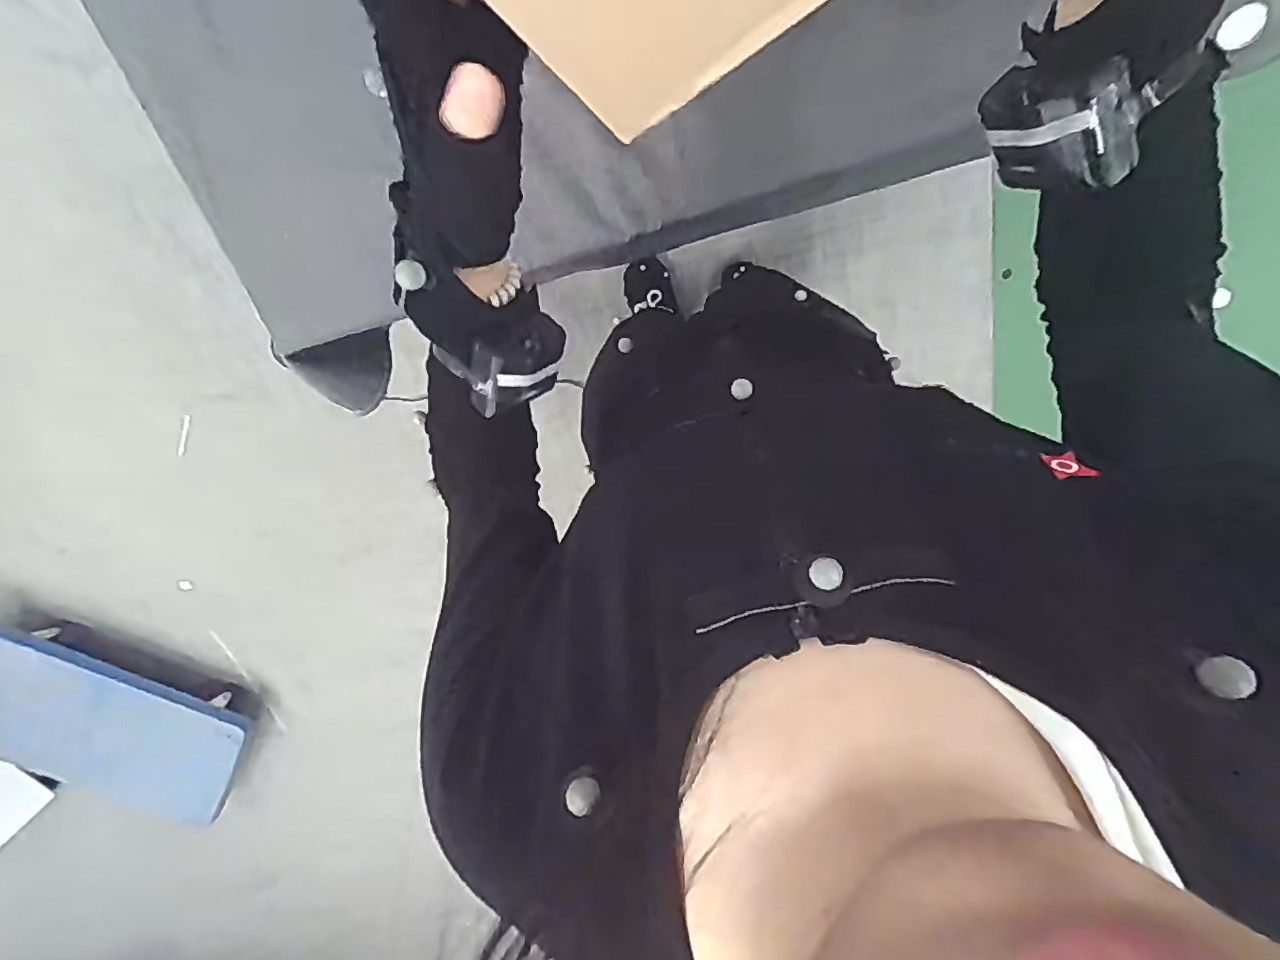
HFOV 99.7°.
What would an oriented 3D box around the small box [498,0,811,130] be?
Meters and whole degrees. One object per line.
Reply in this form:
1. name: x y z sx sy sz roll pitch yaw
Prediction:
1. small box: 0.008 -0.260 0.144 0.179 0.176 0.168 -13 159 39
